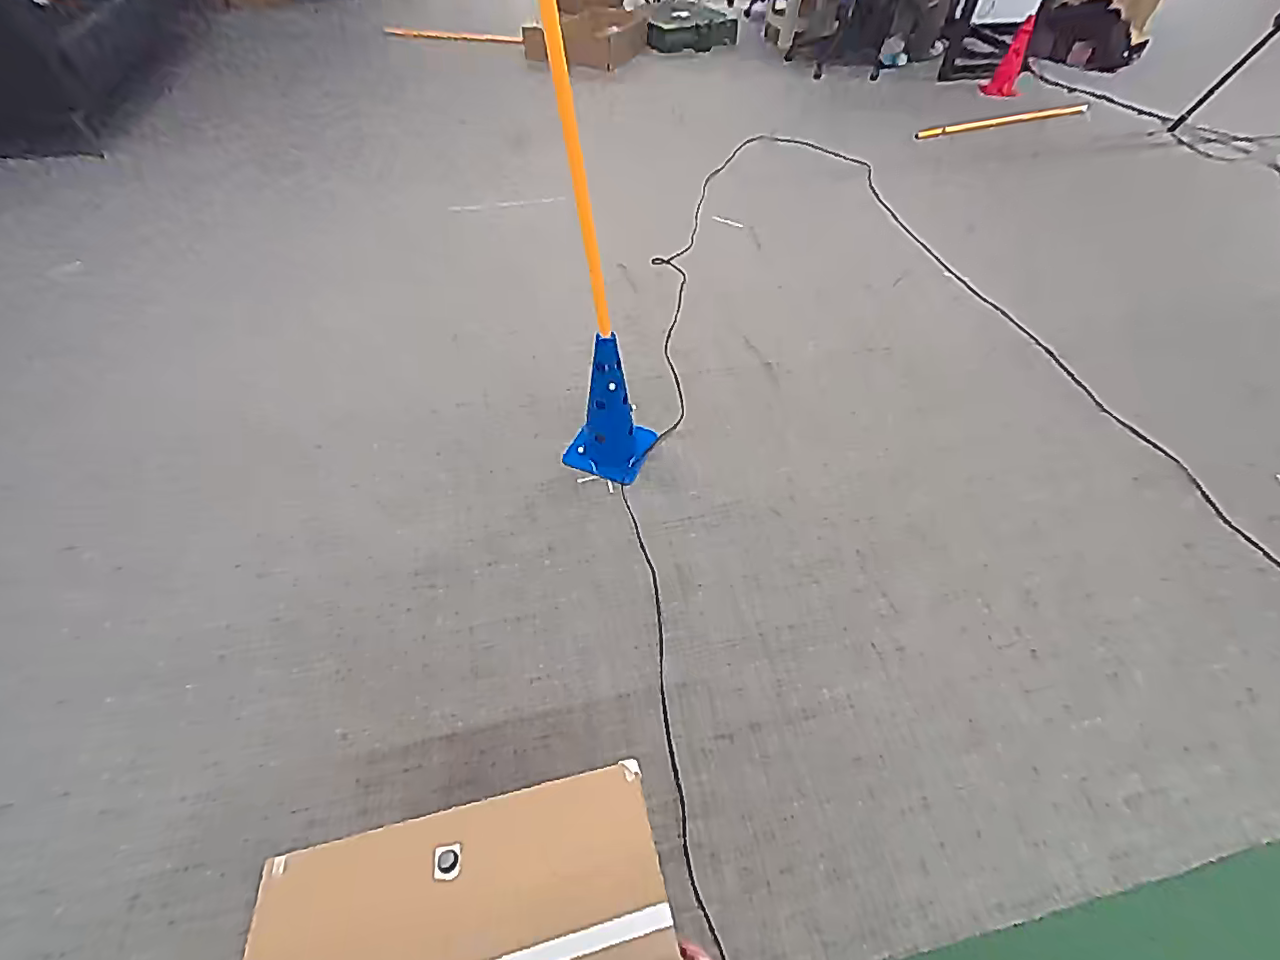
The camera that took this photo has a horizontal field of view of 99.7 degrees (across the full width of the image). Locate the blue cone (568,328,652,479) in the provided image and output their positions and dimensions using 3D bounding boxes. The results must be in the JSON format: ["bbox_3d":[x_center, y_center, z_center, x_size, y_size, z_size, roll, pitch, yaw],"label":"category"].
[{"bbox_3d":[-0.073,-0.187,1.271,0.192,0.380,0.193,17,53,12],"label":"blue cone"}]
